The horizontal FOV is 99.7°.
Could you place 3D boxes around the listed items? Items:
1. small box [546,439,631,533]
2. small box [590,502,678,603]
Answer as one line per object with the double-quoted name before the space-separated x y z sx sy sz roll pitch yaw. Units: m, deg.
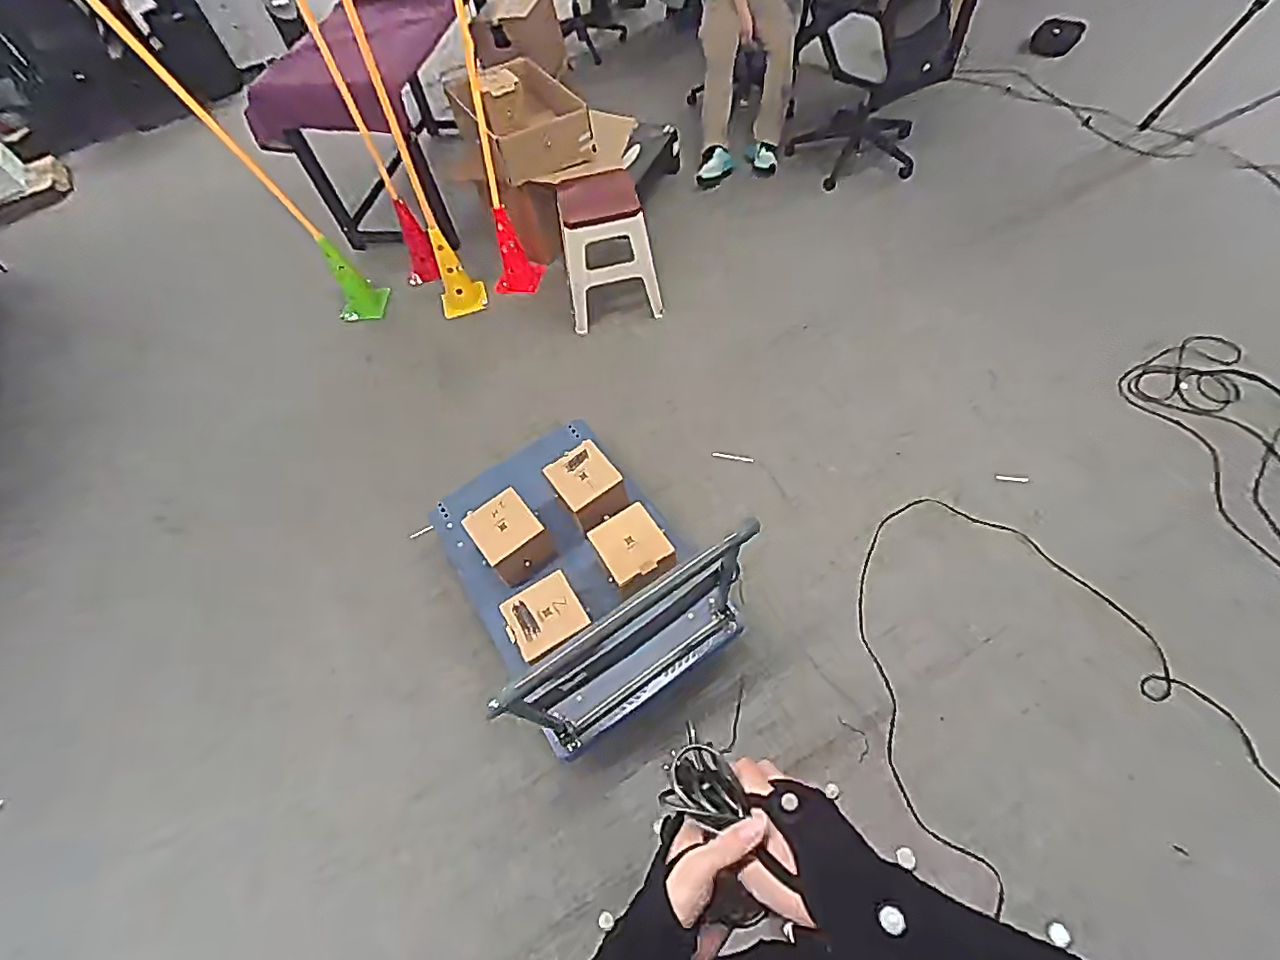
"small box" -0.144 0.022 1.557 0.168 0.176 0.179 -35 63 -12
"small box" -0.012 0.197 1.437 0.168 0.176 0.179 -31 61 -11
